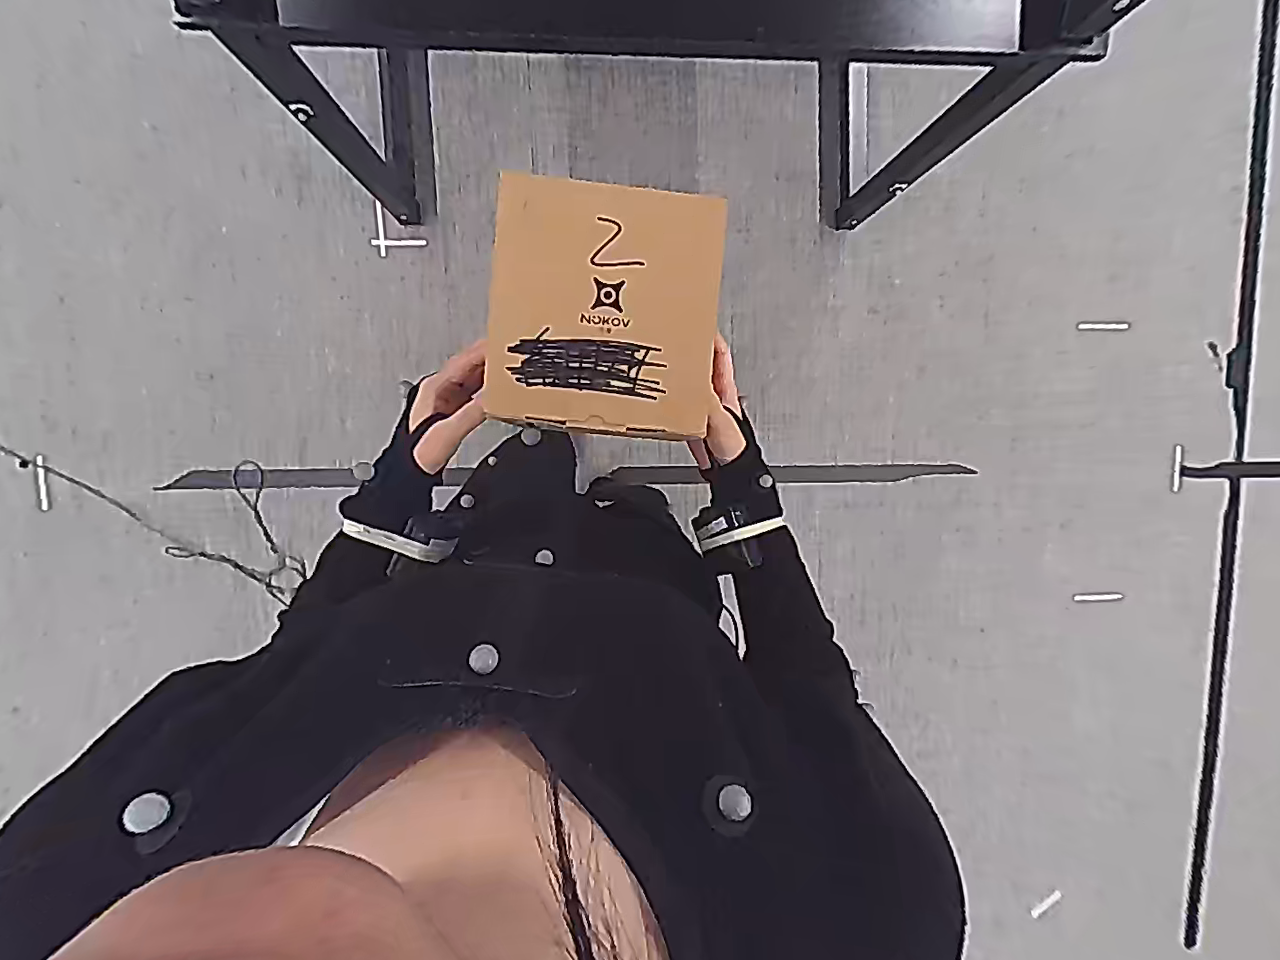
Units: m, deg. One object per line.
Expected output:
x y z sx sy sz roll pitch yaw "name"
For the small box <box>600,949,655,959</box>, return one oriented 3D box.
-0.038 1.491 1.540 0.179 0.176 0.168 0 96 -6 "small box"
